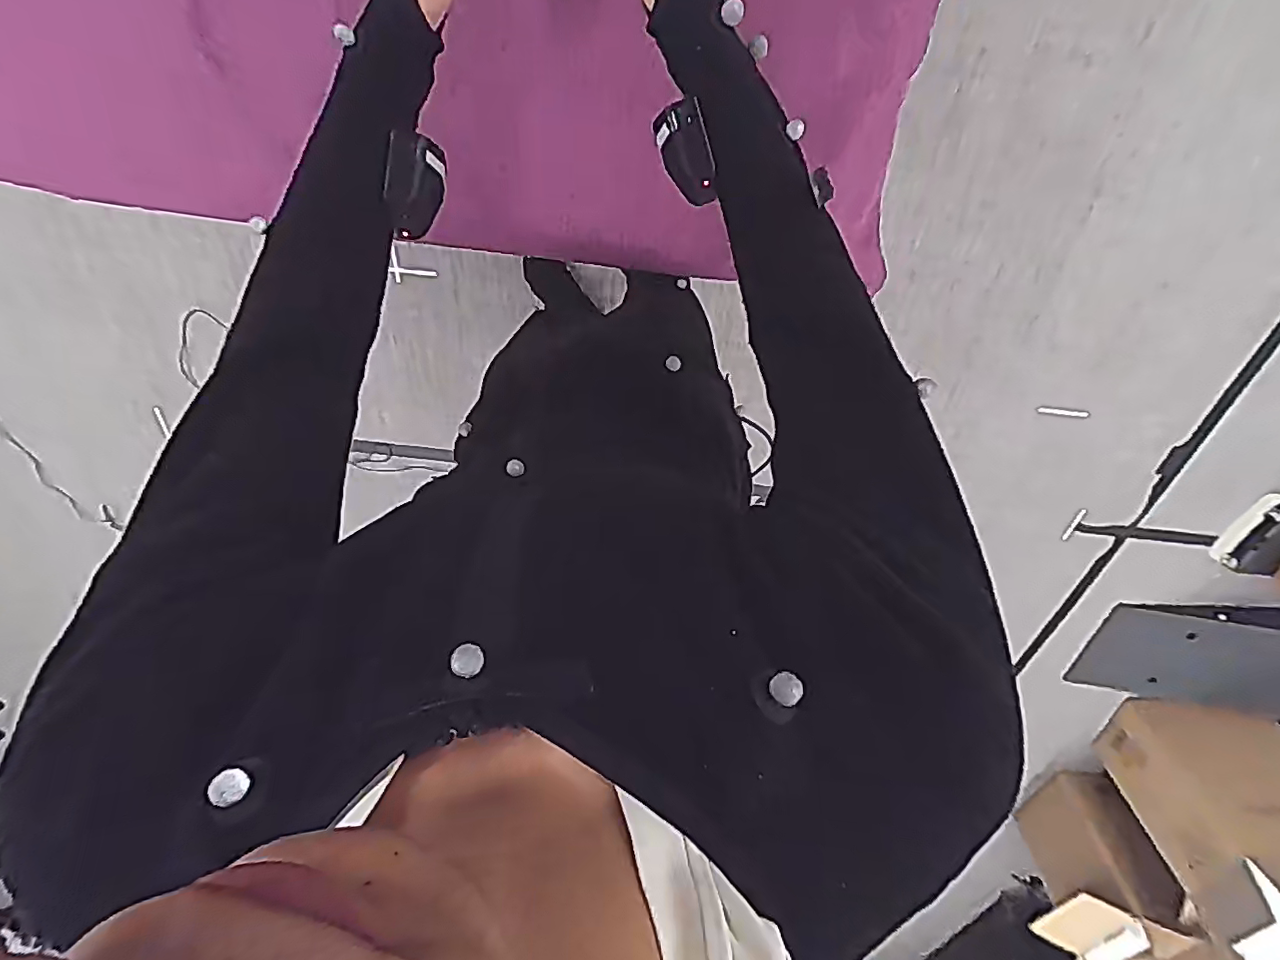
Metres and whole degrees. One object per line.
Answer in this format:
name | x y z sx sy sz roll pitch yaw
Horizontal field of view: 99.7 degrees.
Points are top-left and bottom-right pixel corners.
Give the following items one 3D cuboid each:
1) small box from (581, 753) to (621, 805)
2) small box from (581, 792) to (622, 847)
small box | -0.182 1.434 2.575 0.168 0.176 0.179 8 126 -4
small box | -0.172 1.532 2.443 0.179 0.176 0.168 2 126 0
